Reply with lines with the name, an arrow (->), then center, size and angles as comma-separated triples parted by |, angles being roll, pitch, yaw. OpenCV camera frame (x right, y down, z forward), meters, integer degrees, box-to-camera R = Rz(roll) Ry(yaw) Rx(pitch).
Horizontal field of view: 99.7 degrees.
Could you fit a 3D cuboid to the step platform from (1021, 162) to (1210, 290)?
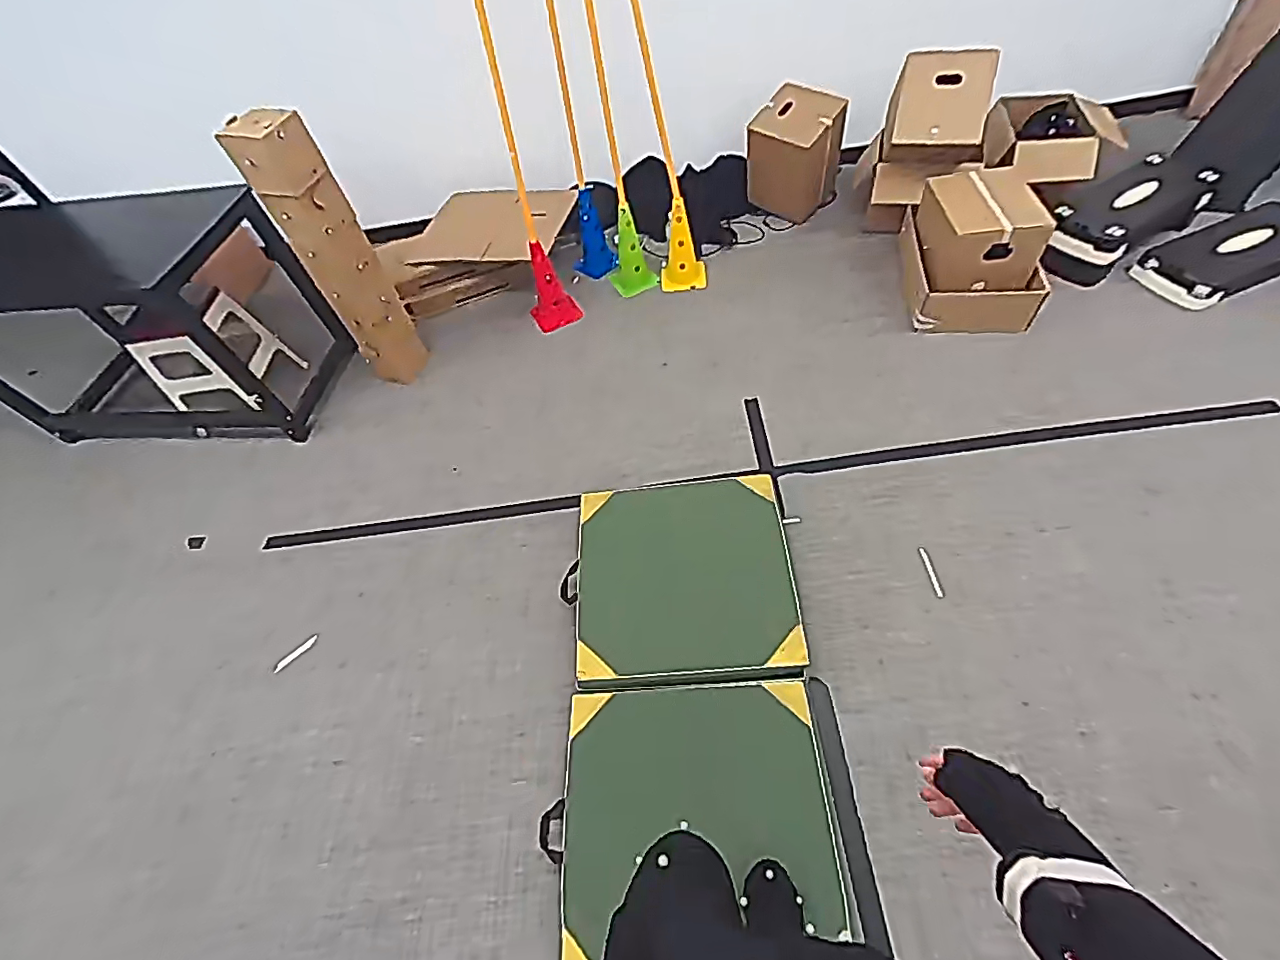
step platform -> 1.909, -1.031, 2.176 | 0.684, 0.204, 0.286 | -31, 56, -12
